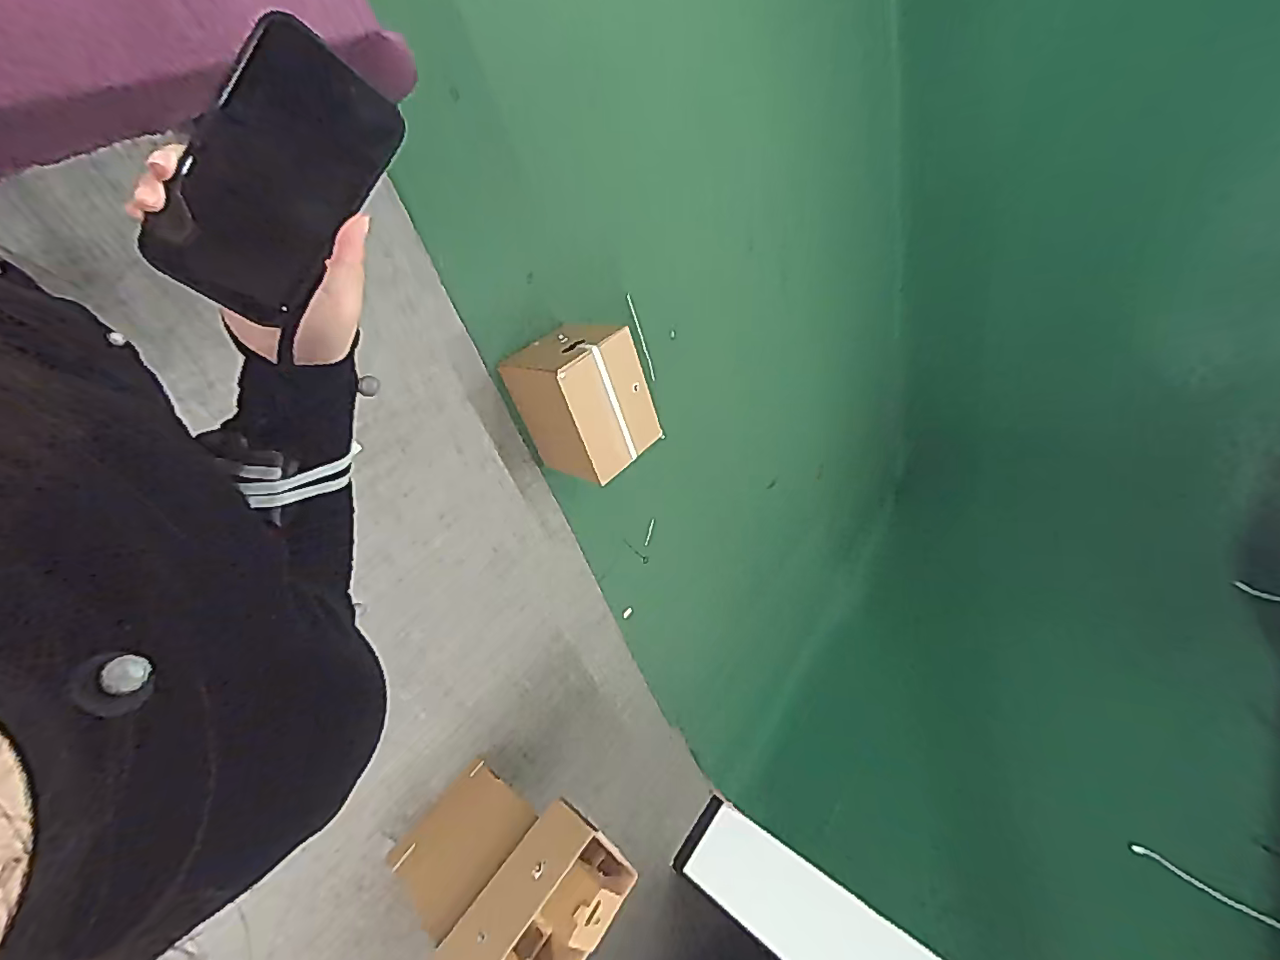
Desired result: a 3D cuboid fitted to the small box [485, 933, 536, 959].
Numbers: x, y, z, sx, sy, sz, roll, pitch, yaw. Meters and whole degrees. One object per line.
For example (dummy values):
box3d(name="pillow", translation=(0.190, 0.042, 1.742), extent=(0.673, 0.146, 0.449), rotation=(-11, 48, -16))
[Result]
box3d(name="small box", translation=(-0.367, 1.468, 1.560), extent=(0.168, 0.176, 0.179), rotation=(-37, 126, -32))
